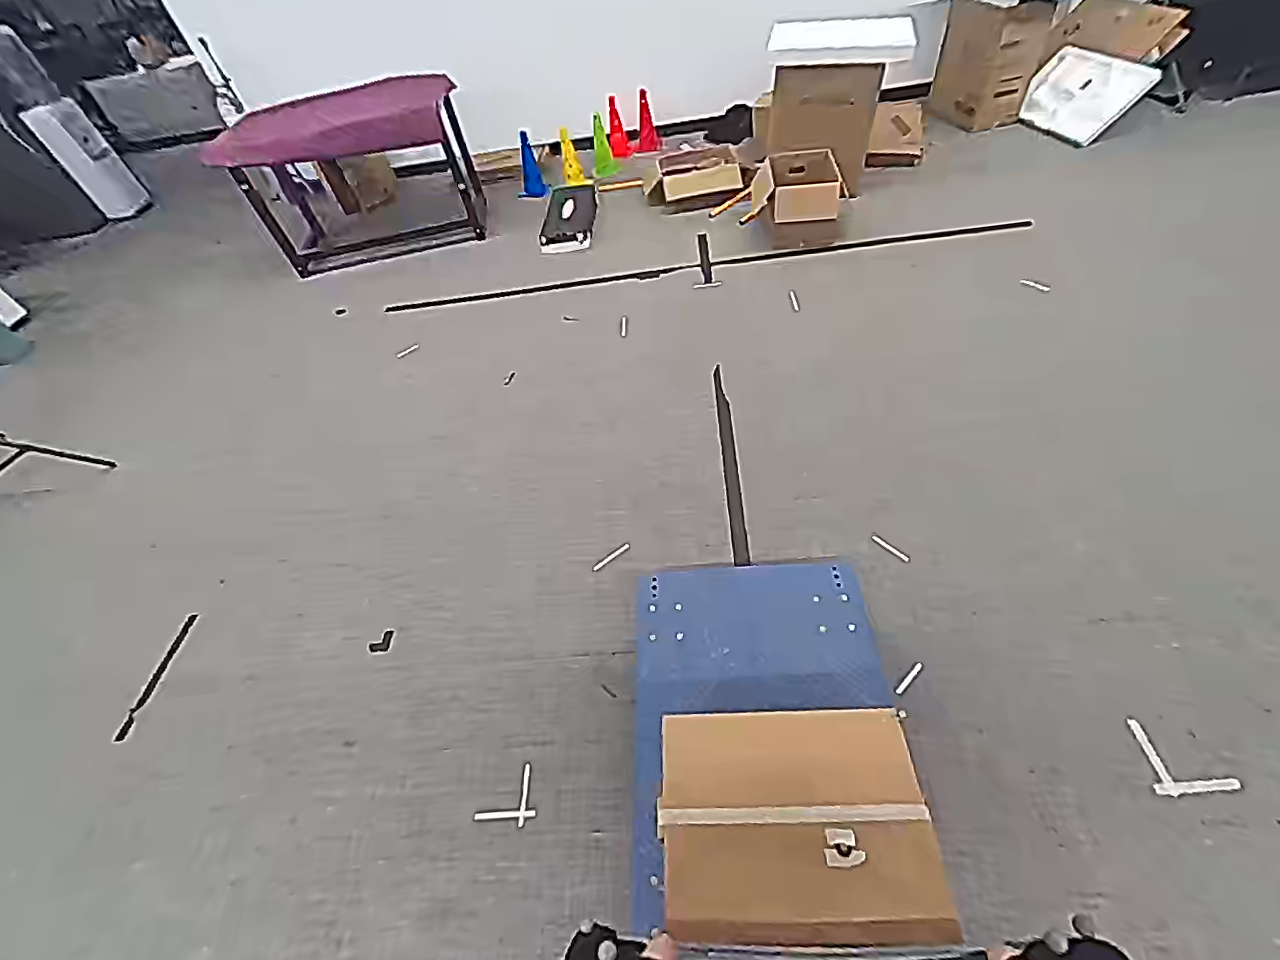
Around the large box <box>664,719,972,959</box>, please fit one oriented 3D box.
[{"bbox_3d":[0.255,0.628,0.929,0.408,0.320,0.320,-4,48,5],"label":"large box"}]
